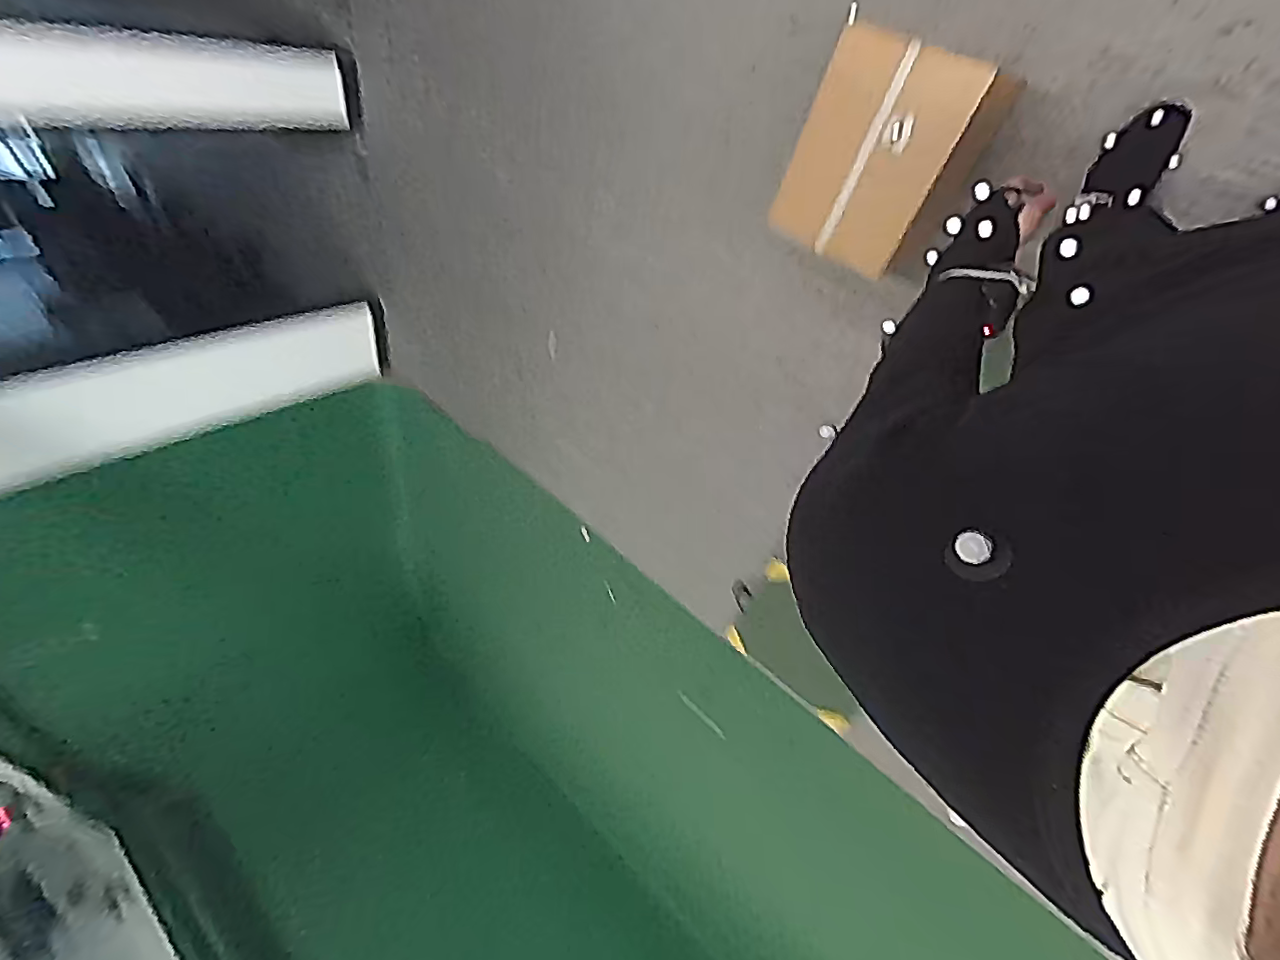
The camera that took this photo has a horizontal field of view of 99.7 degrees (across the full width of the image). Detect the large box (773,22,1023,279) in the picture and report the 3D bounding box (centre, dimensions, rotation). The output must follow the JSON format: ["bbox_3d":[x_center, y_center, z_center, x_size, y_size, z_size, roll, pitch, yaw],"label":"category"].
[{"bbox_3d":[0.578,-0.741,1.250,0.320,0.320,0.408,39,135,19],"label":"large box"}]
